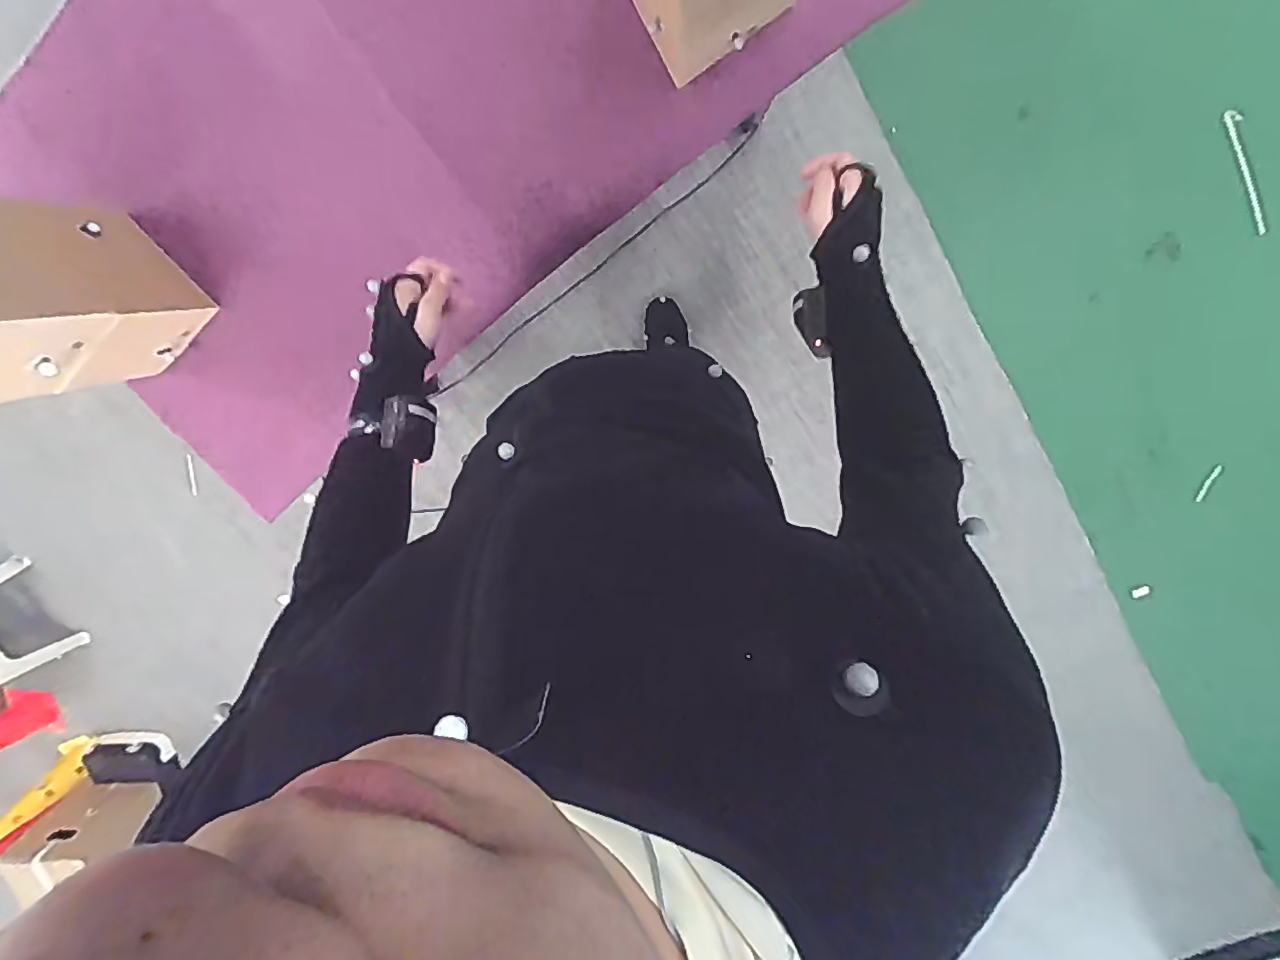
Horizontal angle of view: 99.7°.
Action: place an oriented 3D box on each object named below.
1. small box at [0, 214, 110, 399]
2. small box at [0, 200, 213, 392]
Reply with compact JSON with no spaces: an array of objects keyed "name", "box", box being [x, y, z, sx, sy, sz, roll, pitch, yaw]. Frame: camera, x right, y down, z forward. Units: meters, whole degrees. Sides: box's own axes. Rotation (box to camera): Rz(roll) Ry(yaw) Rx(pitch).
[{"name":"small box","box":[-0.778,-0.196,0.603,0.168,0.176,0.179,-37,105,16]},{"name":"small box","box":[-0.770,-0.251,0.756,0.168,0.176,0.179,-36,105,15]}]
